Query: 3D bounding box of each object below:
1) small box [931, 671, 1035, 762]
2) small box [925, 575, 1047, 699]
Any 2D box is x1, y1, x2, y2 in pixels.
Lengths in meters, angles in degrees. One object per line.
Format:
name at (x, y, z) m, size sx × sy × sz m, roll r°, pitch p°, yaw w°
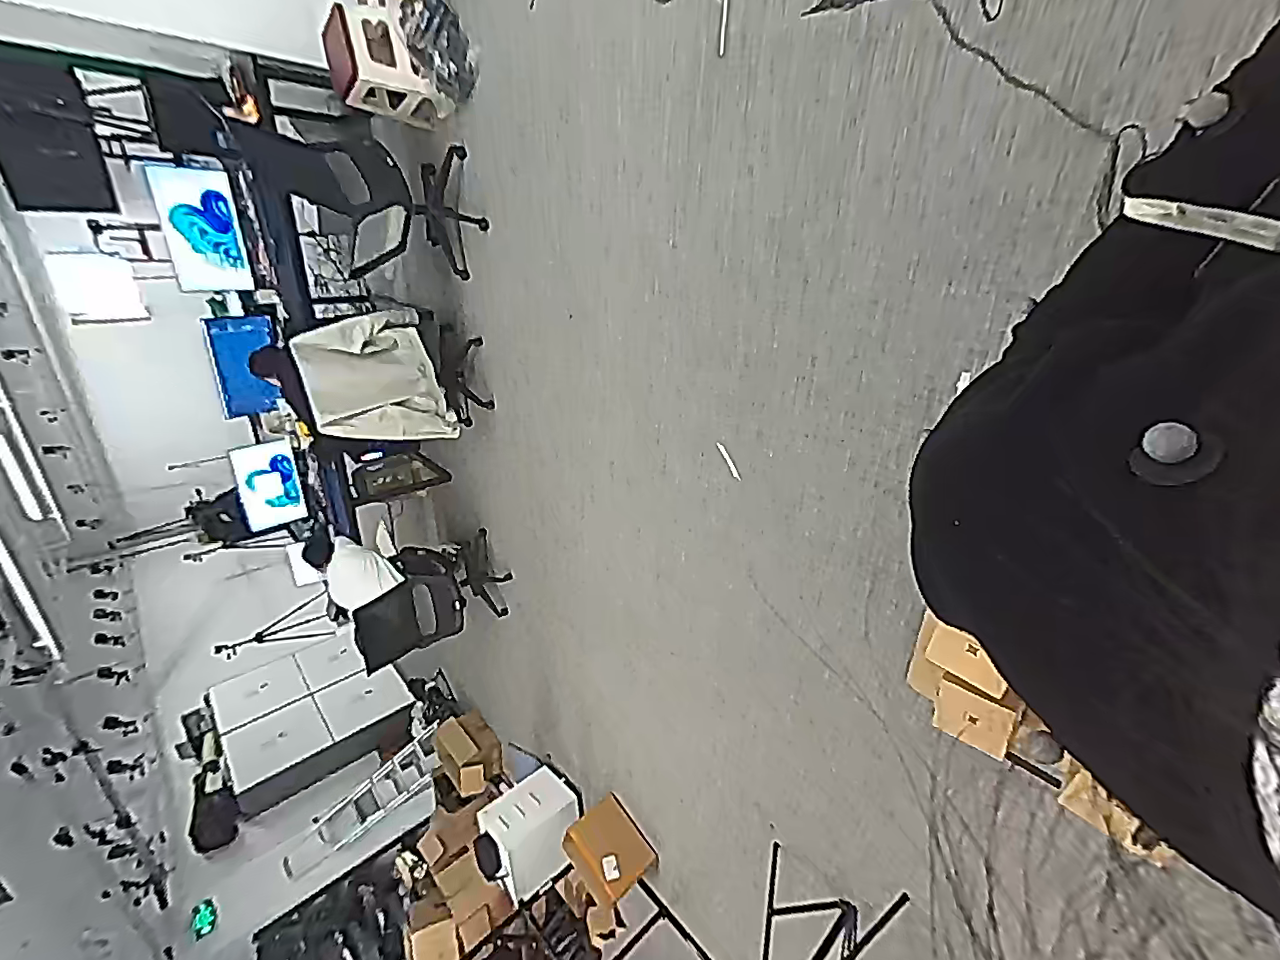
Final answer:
small box at (0.915, 0.597, 1.445) m, size 0.179 × 0.176 × 0.168 m, roll 20°, pitch 121°, yaw 44°
small box at (0.788, 0.349, 1.231) m, size 0.168 × 0.176 × 0.179 m, roll 29°, pitch 124°, yaw 39°
